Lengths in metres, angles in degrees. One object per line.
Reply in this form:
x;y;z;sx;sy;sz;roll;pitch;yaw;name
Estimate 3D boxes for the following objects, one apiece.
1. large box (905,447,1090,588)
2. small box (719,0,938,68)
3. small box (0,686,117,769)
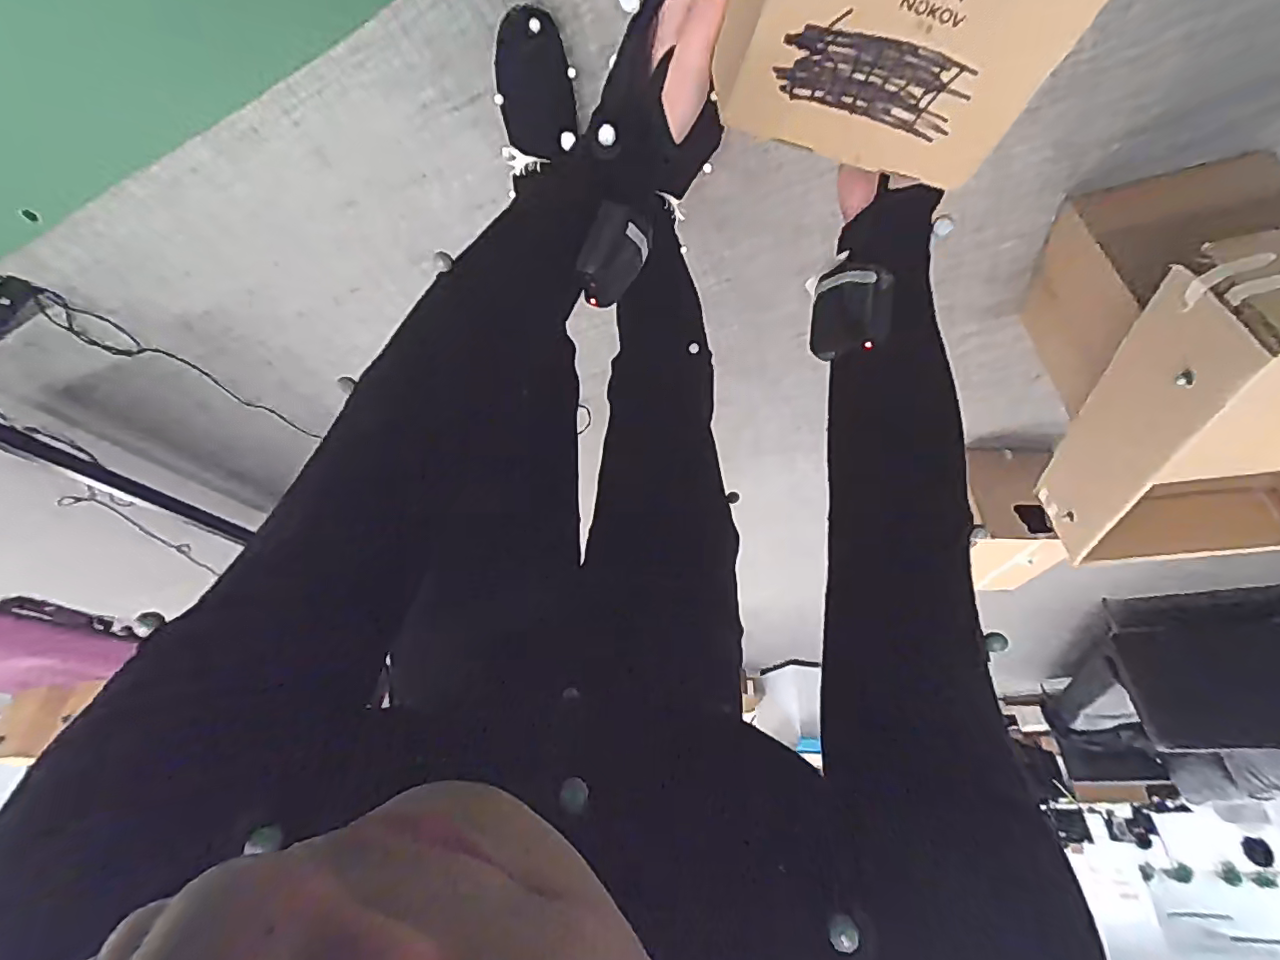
1.127;0.133;1.770;0.320;0.320;0.408;0;147;0;large box
0.152;-0.453;0.386;0.168;0.176;0.179;8;147;-14;small box
-1.505;0.633;1.378;0.179;0.176;0.168;-14;145;20;small box
